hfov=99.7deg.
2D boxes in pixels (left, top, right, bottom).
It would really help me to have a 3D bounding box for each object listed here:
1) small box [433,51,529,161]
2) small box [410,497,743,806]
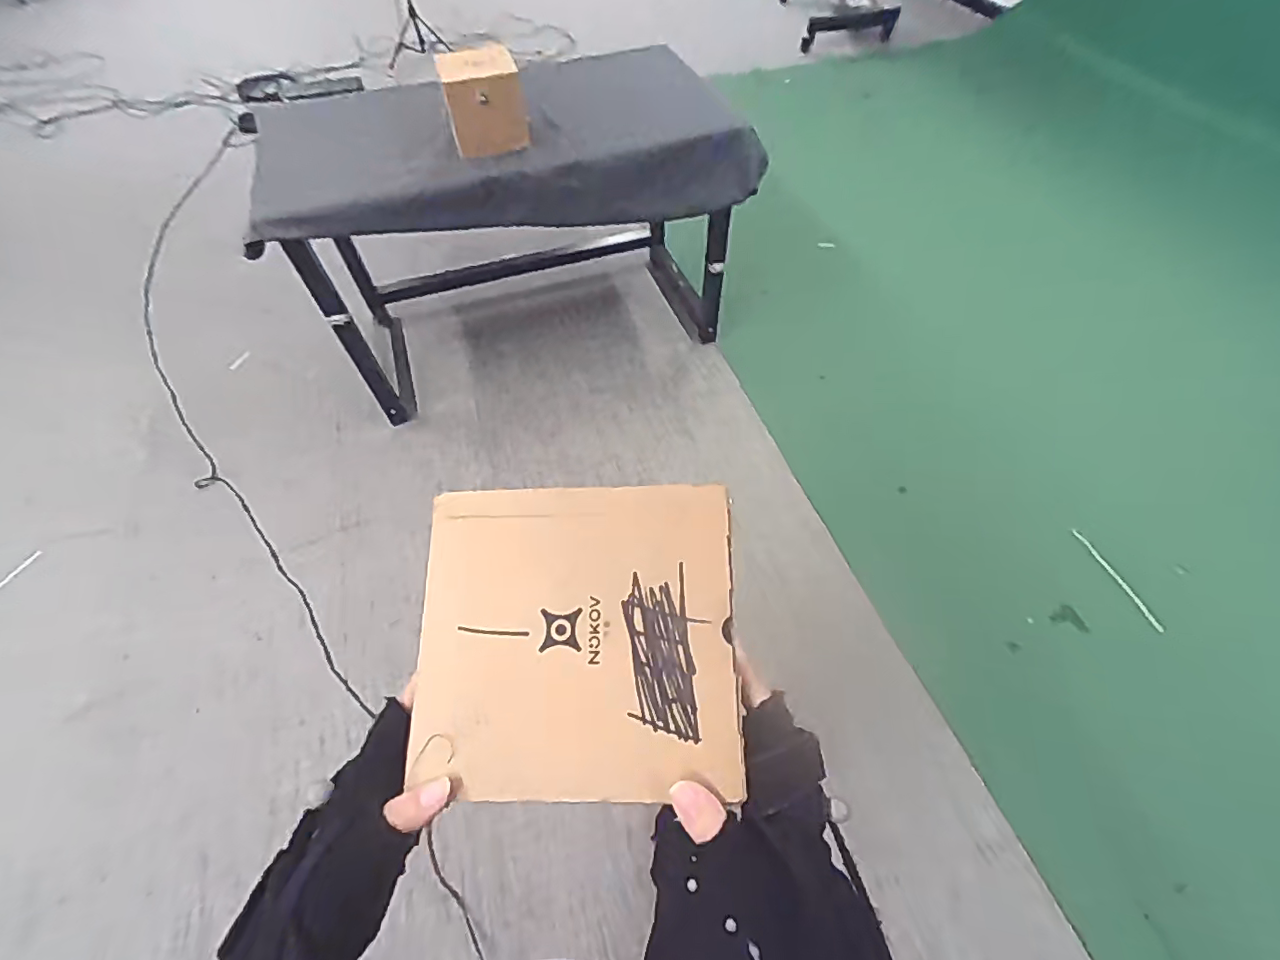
[{"bbox_3d":[-0.382,-0.902,1.312,0.179,0.176,0.168,-16,58,-11],"label":"small box"},{"bbox_3d":[-0.031,0.111,0.377,0.179,0.176,0.168,-2,73,3],"label":"small box"}]
